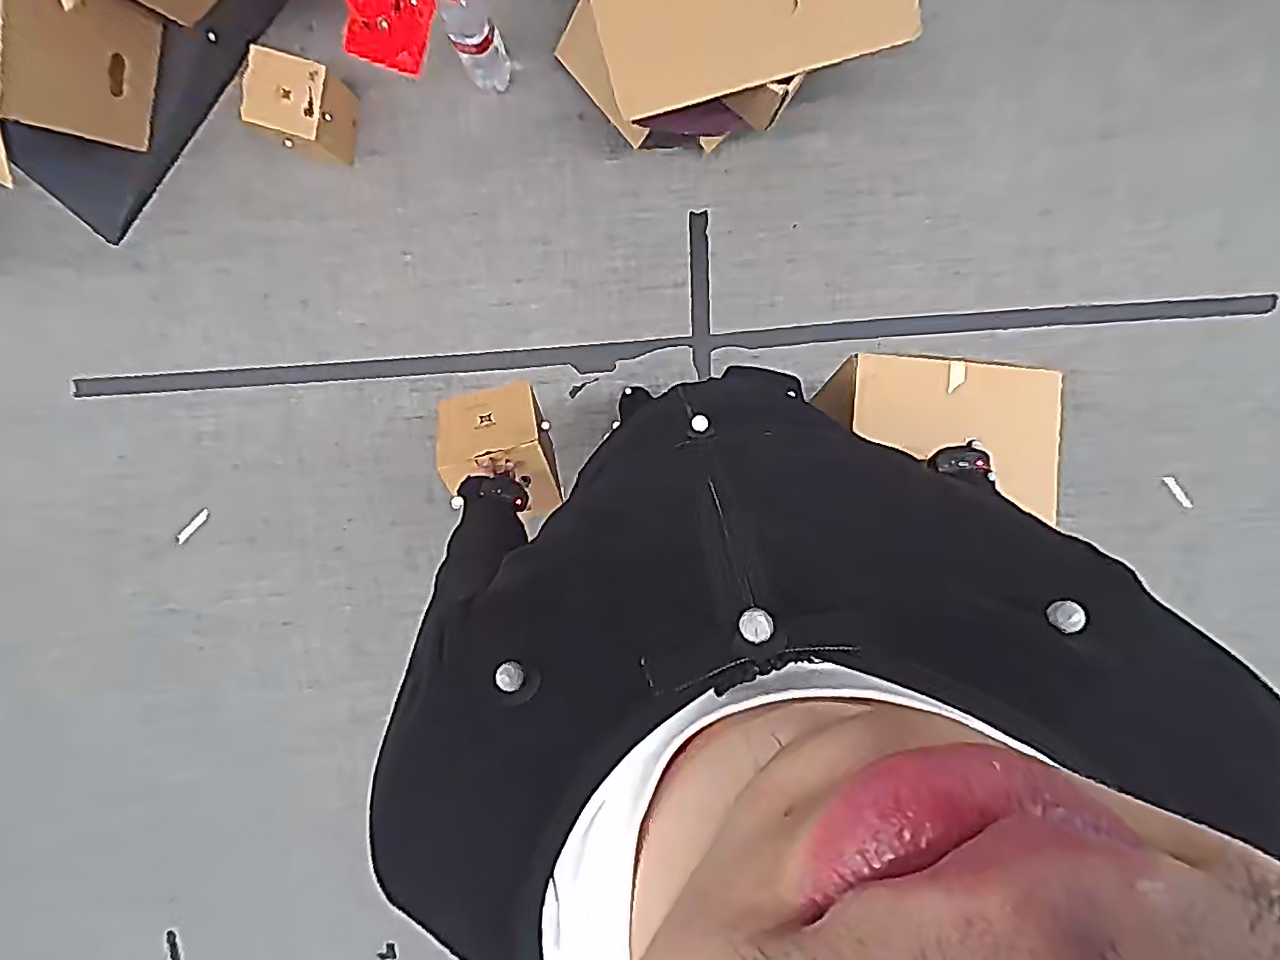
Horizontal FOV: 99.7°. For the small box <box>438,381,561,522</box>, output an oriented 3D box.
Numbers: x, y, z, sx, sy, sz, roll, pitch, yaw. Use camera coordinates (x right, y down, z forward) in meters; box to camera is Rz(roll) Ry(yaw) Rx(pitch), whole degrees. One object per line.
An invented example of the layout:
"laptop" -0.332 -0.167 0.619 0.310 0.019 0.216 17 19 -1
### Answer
"small box" -0.246 -0.044 0.967 0.168 0.179 0.176 -15 136 -4
